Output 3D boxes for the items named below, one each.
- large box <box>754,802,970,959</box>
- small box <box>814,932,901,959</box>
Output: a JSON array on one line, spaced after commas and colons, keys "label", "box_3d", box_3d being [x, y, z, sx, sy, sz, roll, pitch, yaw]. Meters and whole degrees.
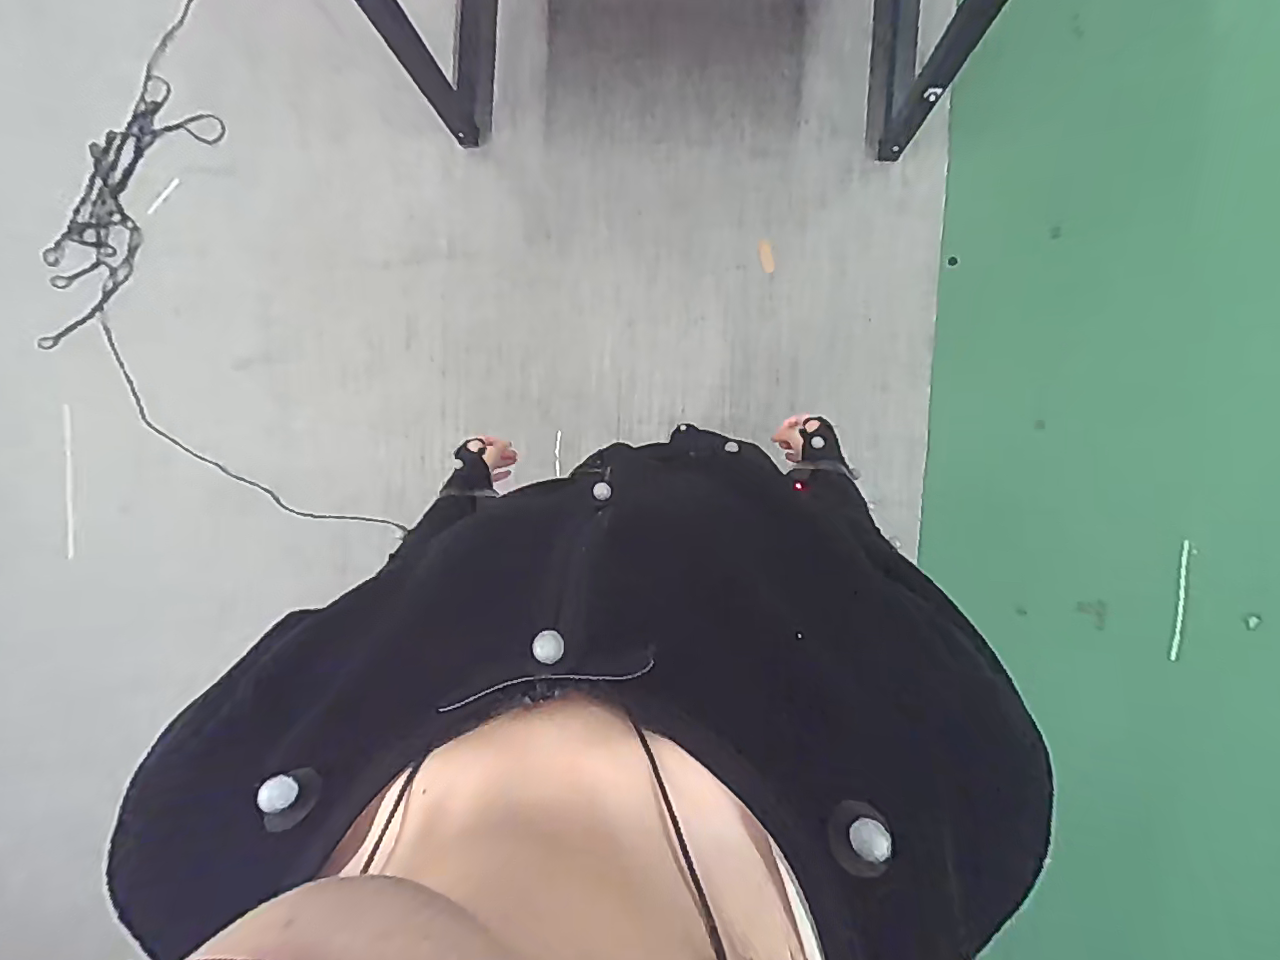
[{"label": "large box", "box_3d": [0.529, 1.061, 1.335, 0.408, 0.320, 0.320, -11, 92, 4]}, {"label": "small box", "box_3d": [0.464, 1.063, 1.096, 0.168, 0.176, 0.179, -11, 91, 5]}]
